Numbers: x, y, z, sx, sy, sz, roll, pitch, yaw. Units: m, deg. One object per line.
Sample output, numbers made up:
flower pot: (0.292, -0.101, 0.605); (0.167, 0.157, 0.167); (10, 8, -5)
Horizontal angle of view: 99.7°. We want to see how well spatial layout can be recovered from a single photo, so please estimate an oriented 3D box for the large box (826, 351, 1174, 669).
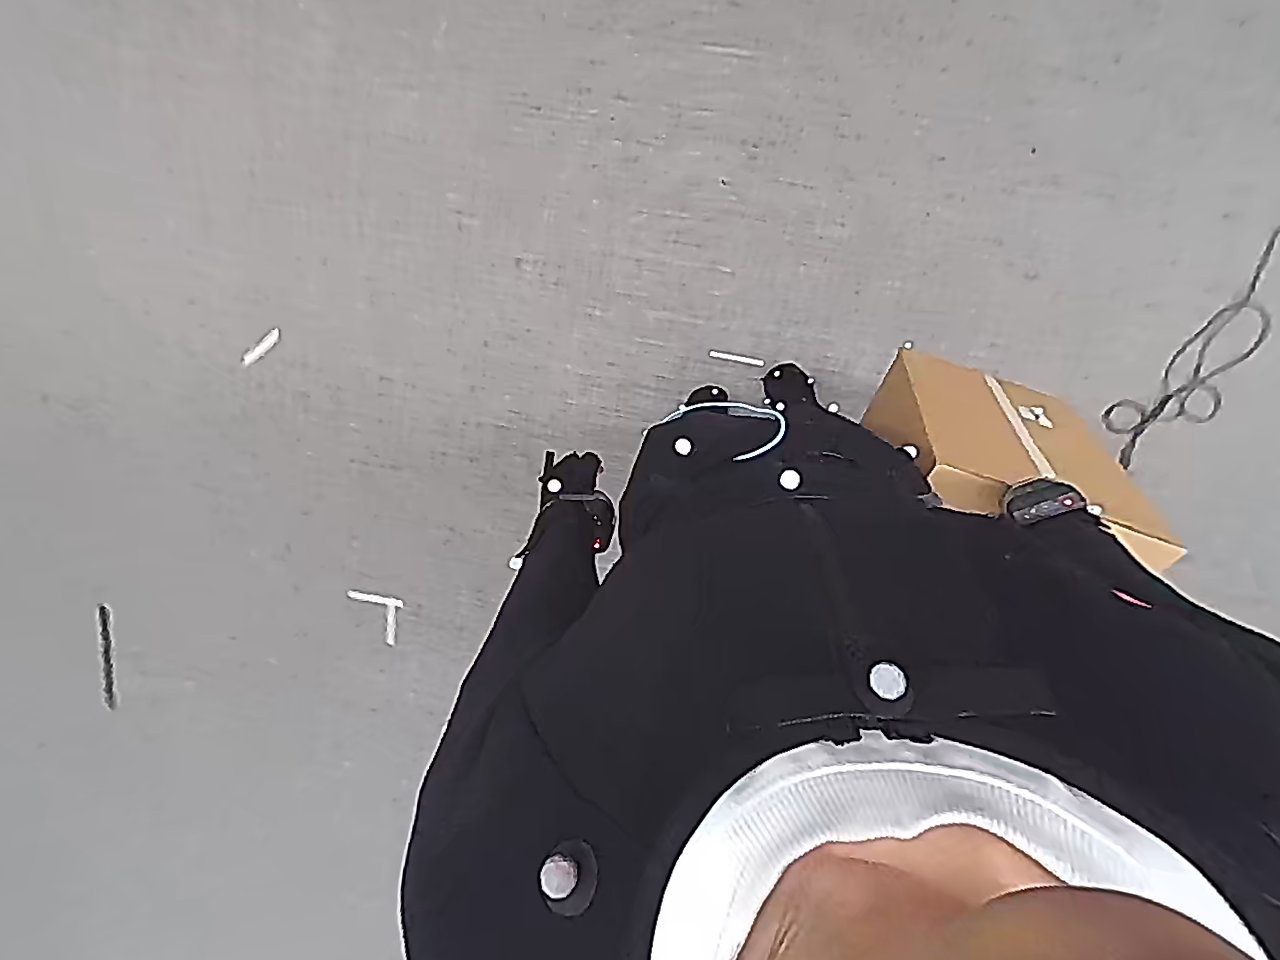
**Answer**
large box: (0.532, 0.032, 0.921); (0.320, 0.408, 0.320); (20, 127, 3)
